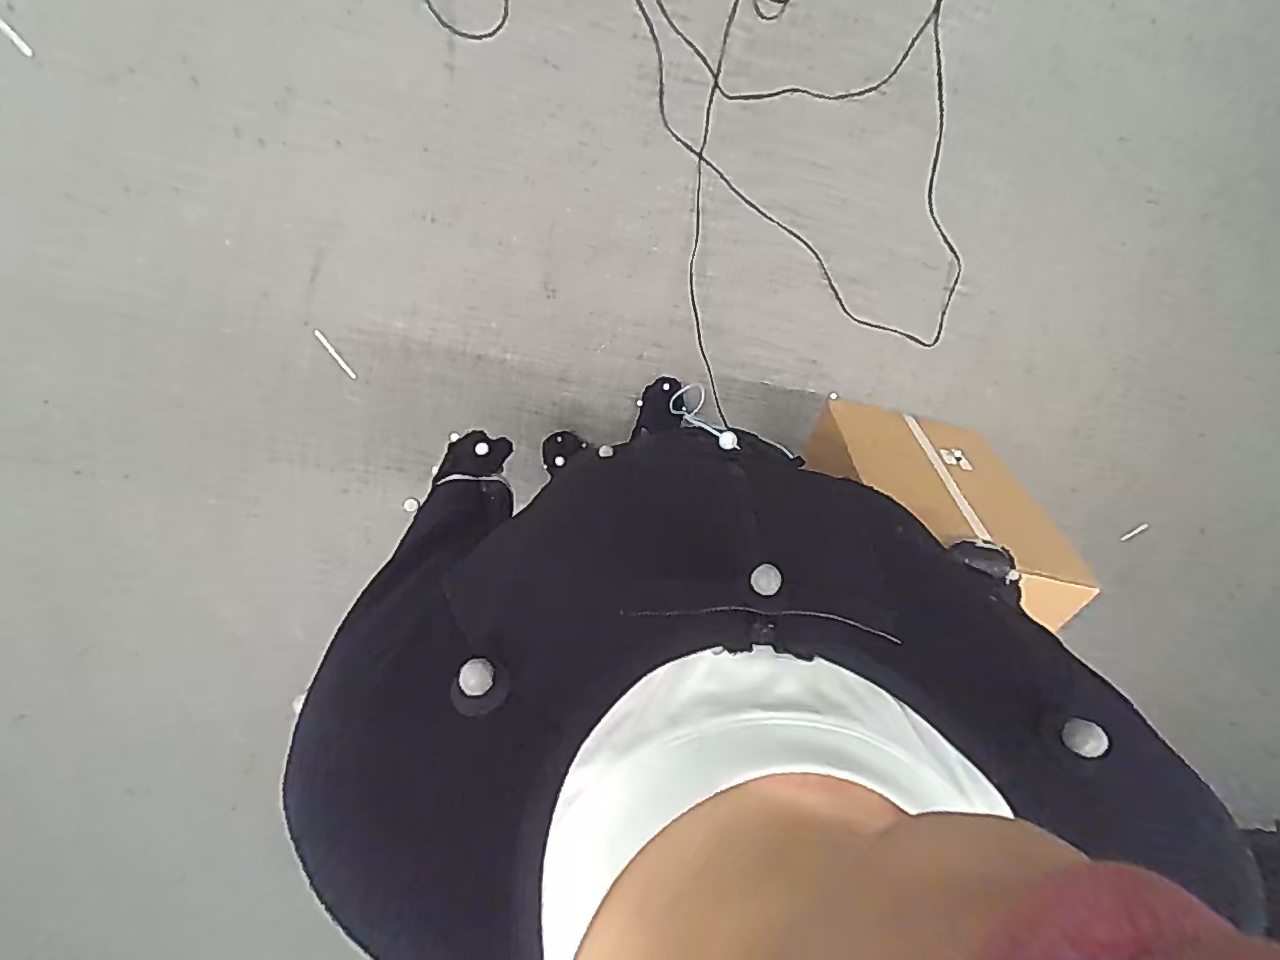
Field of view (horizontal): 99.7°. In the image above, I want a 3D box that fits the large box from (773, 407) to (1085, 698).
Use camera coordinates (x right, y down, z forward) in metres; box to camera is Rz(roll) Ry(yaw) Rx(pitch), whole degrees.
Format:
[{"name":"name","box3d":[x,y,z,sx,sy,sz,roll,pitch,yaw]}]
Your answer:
[{"name":"large box","box3d":[0.460,0.122,0.989,0.320,0.408,0.320,13,127,-4]}]
